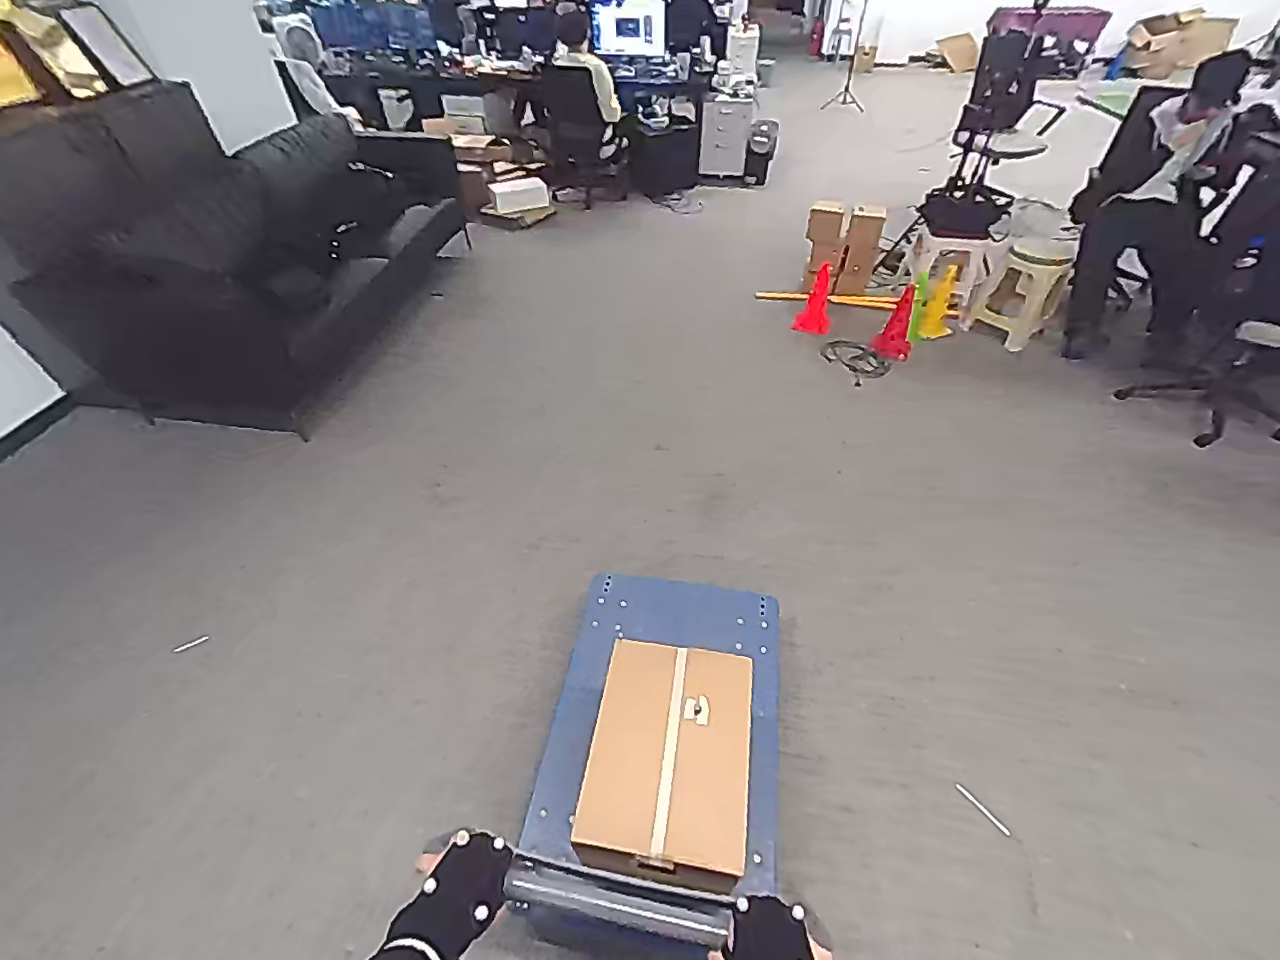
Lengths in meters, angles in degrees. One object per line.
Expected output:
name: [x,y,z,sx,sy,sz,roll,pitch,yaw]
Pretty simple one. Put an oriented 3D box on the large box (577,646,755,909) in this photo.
large box: [0.074,0.634,1.170,0.320,0.320,0.408,6,45,8]
